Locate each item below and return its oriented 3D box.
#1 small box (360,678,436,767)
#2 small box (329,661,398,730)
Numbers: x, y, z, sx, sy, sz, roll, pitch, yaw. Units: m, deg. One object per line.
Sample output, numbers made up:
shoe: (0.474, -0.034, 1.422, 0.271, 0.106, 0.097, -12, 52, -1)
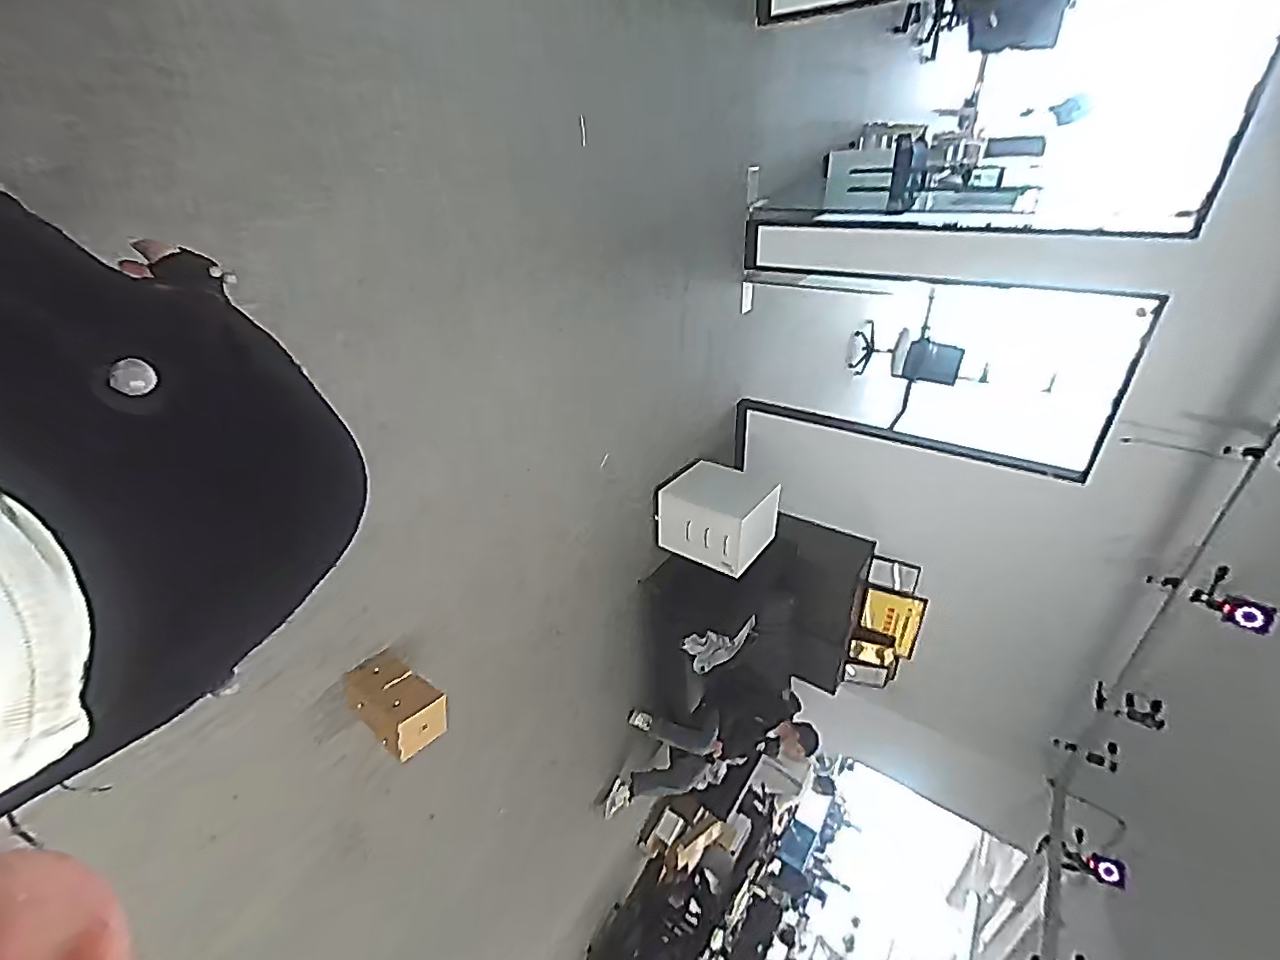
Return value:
small box: (-0.808, 0.799, 1.797, 0.179, 0.176, 0.168, -24, 128, -52)
small box: (-0.933, 0.760, 1.881, 0.179, 0.176, 0.168, -56, 148, -27)
